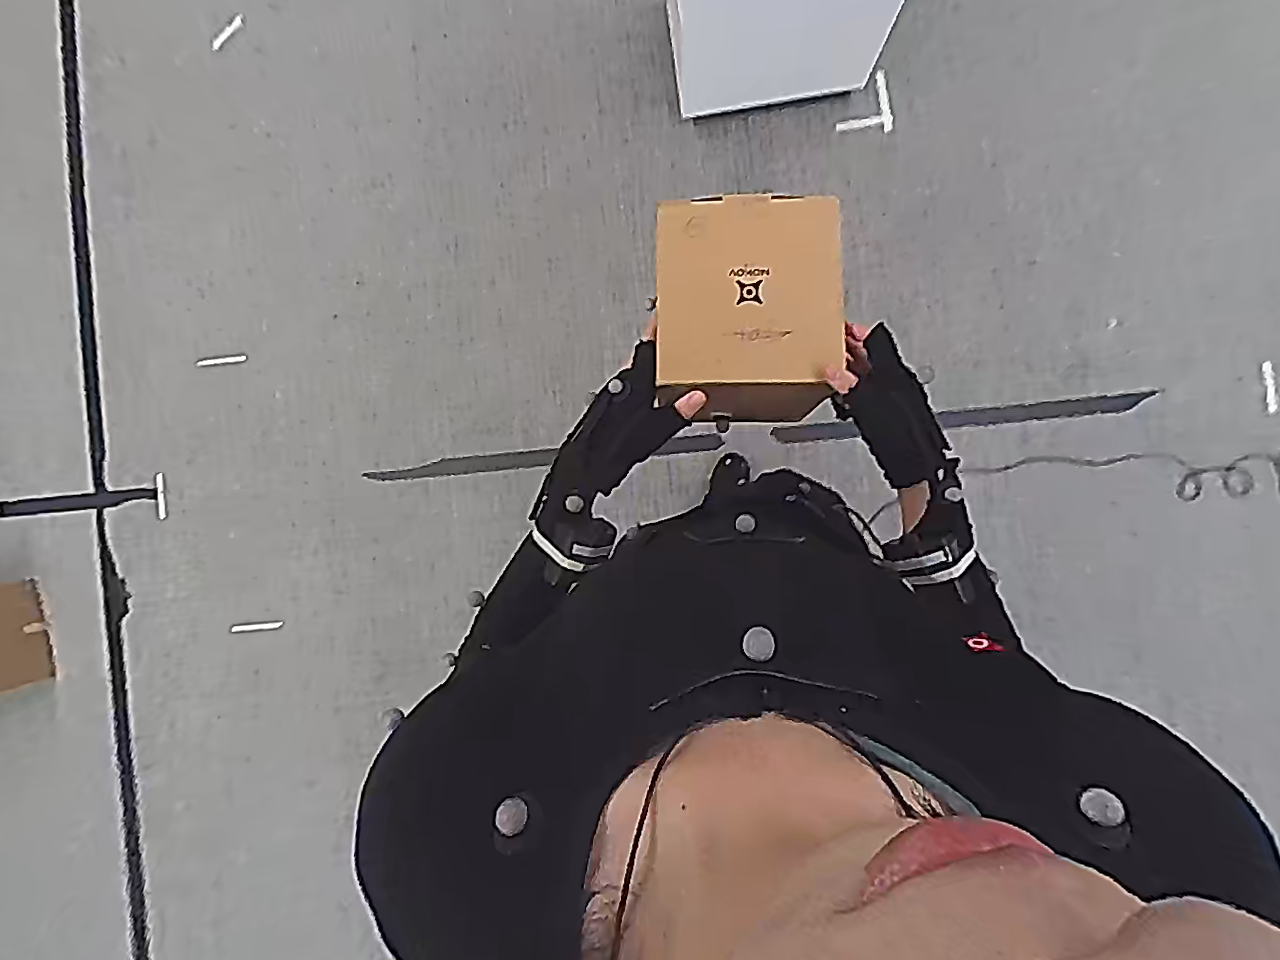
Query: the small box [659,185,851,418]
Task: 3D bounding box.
[{"bbox_3d":[0.103,-0.168,0.553,0.168,0.176,0.179,0,84,3],"label":"small box"}]
